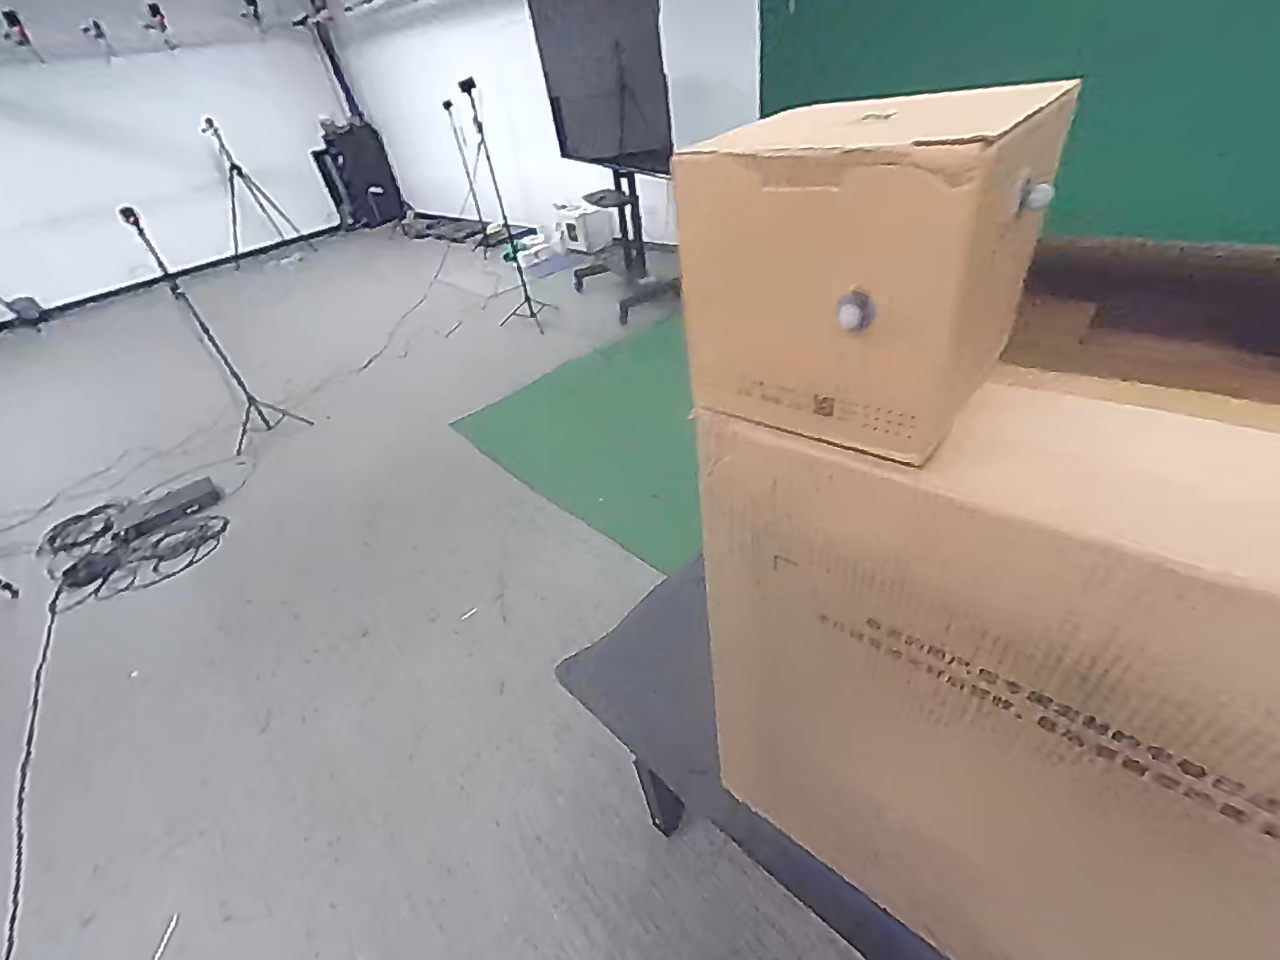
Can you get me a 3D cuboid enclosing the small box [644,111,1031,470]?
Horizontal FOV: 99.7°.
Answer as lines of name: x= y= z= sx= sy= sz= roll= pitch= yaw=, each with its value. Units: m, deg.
small box: x=0.129 y=-0.131 z=0.369 sx=0.168 sy=0.176 sz=0.179 roll=23 pitch=47 yaw=36
